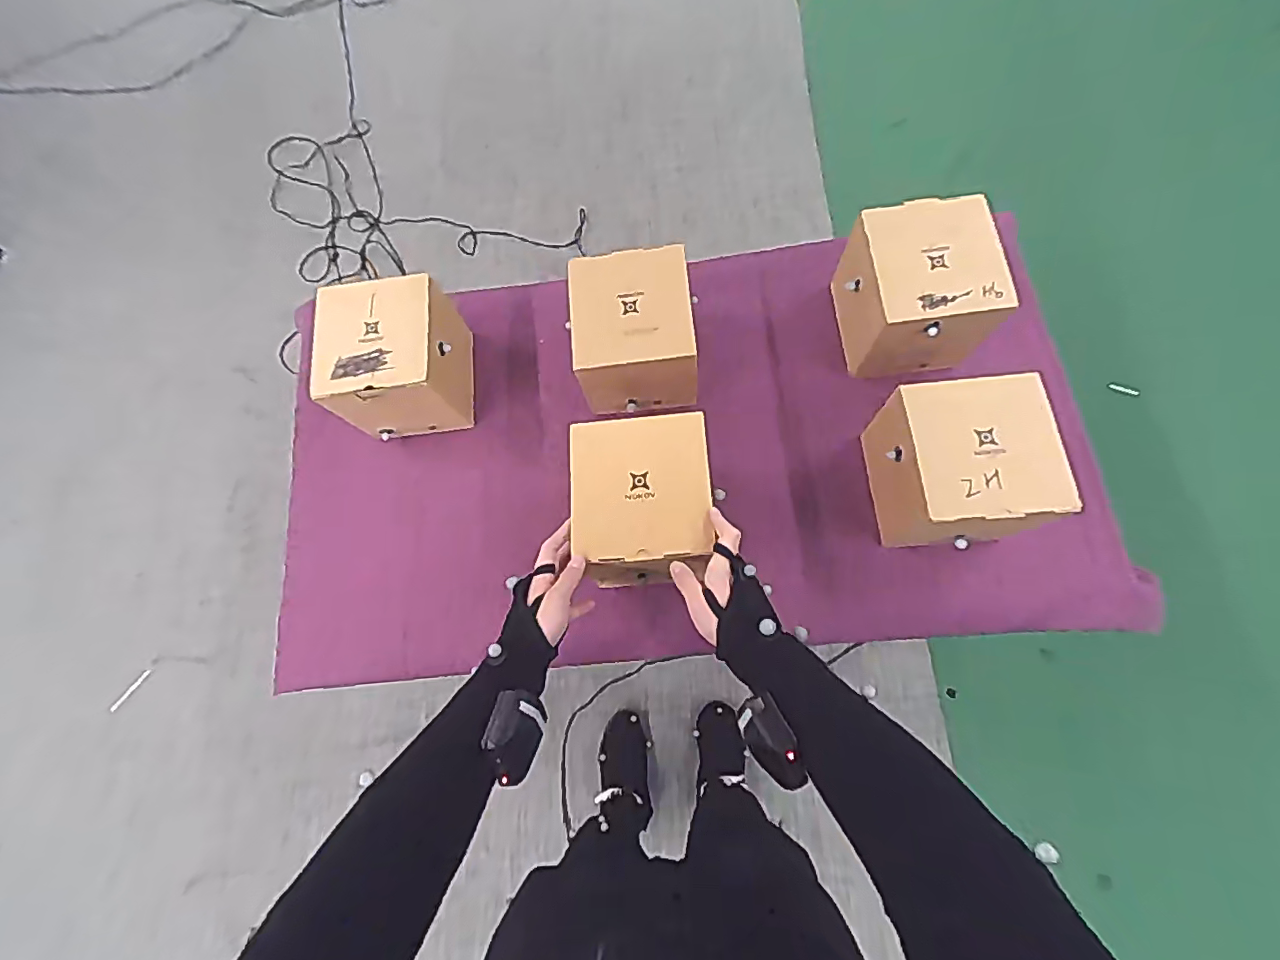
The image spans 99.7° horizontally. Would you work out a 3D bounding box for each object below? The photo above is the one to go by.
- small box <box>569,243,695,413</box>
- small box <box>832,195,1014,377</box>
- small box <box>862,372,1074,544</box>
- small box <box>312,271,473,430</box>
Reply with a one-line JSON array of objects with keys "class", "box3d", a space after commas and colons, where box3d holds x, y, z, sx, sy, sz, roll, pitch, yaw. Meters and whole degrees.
[{"class": "small box", "box3d": [-0.008, -0.218, 0.806, 0.168, 0.176, 0.179, -5, 75, 4]}, {"class": "small box", "box3d": [0.390, -0.271, 0.783, 0.168, 0.176, 0.179, -6, 74, 4]}, {"class": "small box", "box3d": [0.406, -0.020, 0.708, 0.168, 0.176, 0.179, -4, 73, 5]}, {"class": "small box", "box3d": [-0.364, -0.185, 0.826, 0.168, 0.176, 0.179, -6, 73, 3]}]
